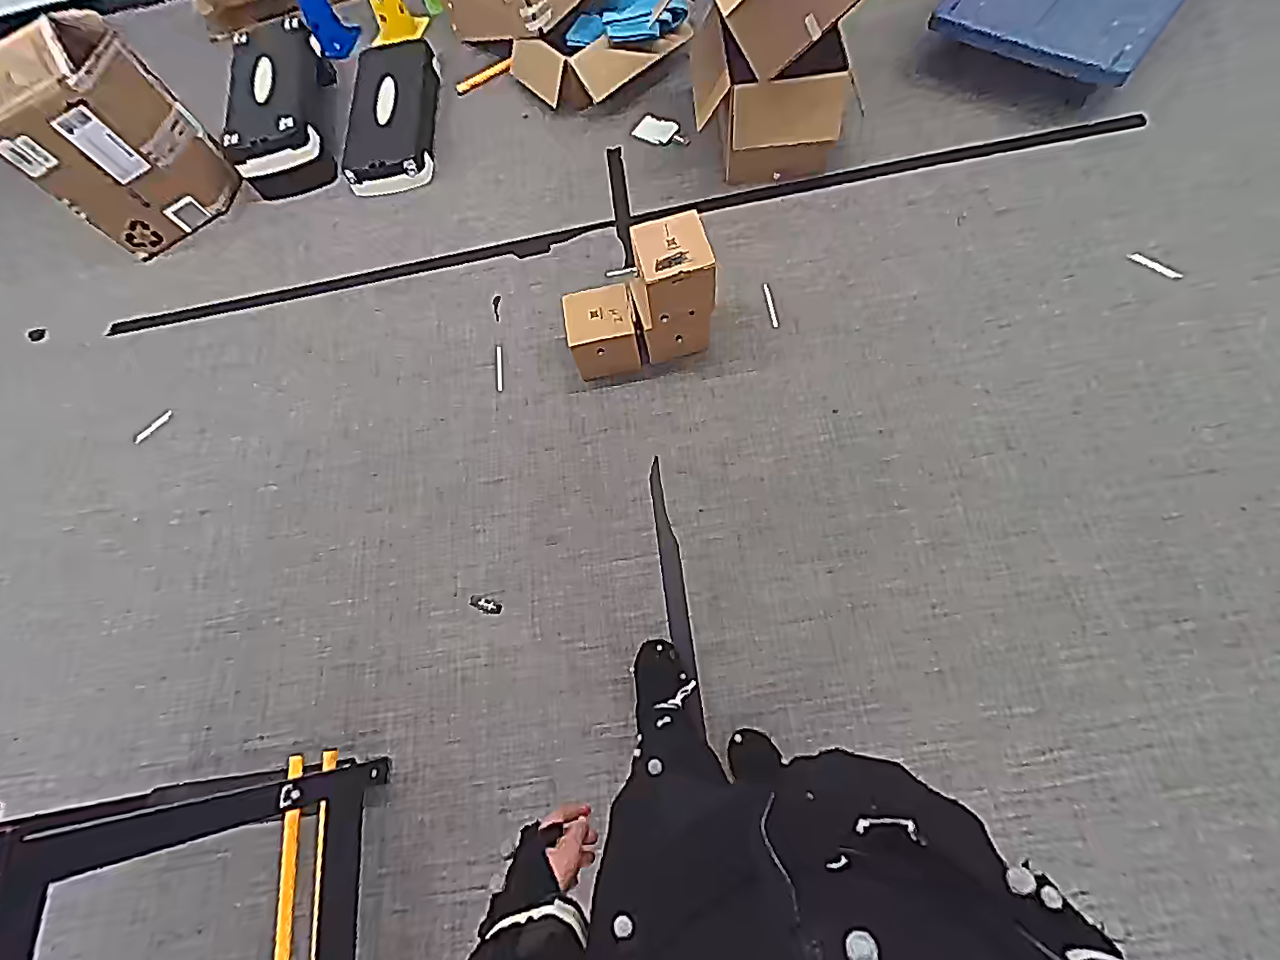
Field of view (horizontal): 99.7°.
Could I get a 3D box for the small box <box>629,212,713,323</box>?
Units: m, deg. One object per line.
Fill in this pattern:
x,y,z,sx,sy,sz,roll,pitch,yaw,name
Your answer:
0.080,-0.507,1.318,0.168,0.176,0.179,-14,68,1,small box
